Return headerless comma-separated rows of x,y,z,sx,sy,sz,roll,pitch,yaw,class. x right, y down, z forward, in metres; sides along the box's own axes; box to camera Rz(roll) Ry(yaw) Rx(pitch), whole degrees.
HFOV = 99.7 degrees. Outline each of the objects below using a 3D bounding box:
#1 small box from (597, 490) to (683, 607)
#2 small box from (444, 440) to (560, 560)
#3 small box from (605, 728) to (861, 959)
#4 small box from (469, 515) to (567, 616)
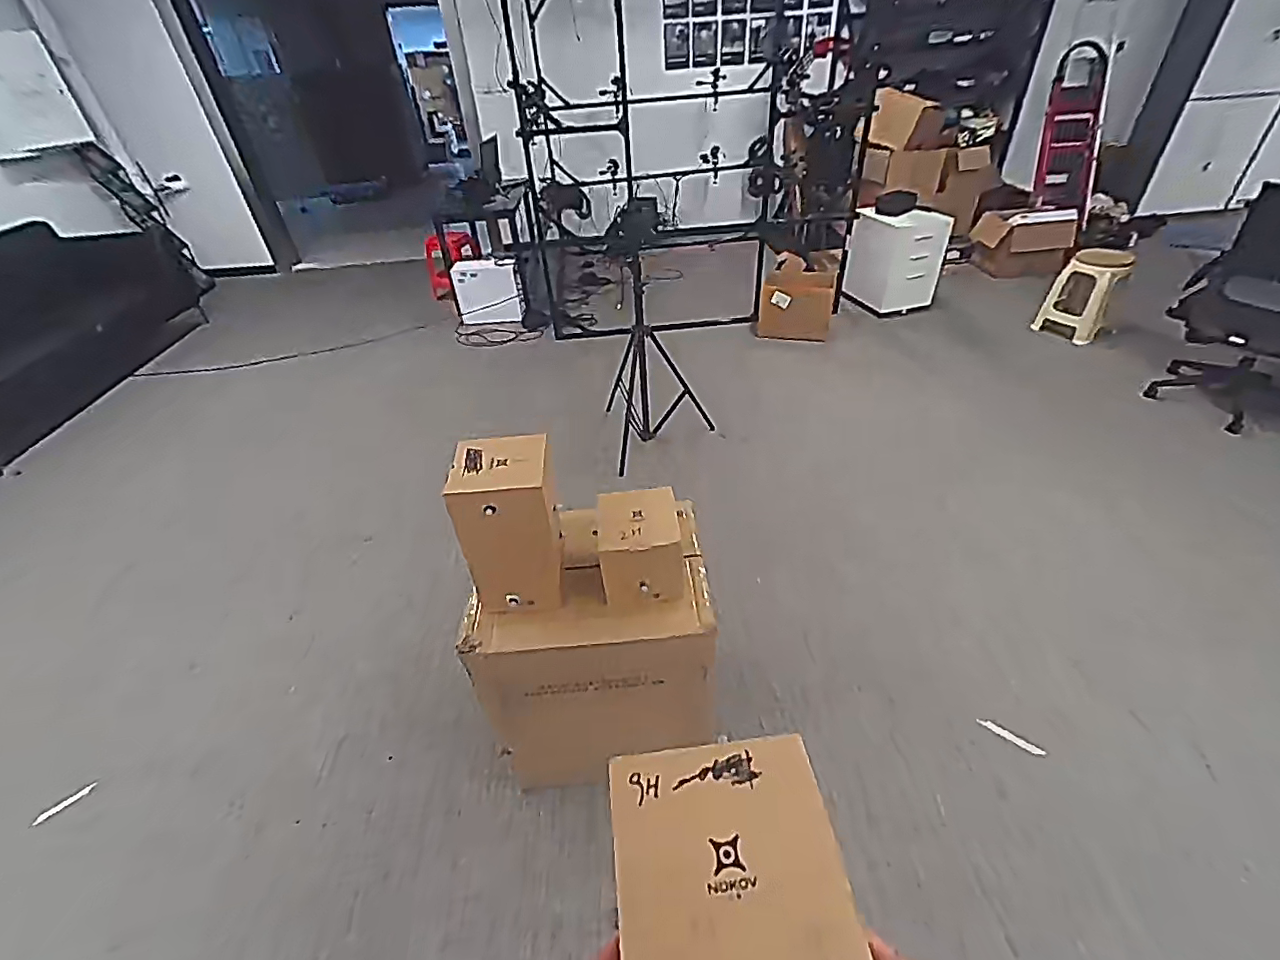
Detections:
0.001,0.146,1.158,0.168,0.176,0.179,-7,39,1,small box
-0.258,0.041,1.056,0.179,0.176,0.168,-5,39,-2,small box
0.065,0.339,0.457,0.168,0.176,0.179,-7,44,-2,small box
-0.252,0.168,1.160,0.168,0.176,0.179,-6,40,-1,small box
